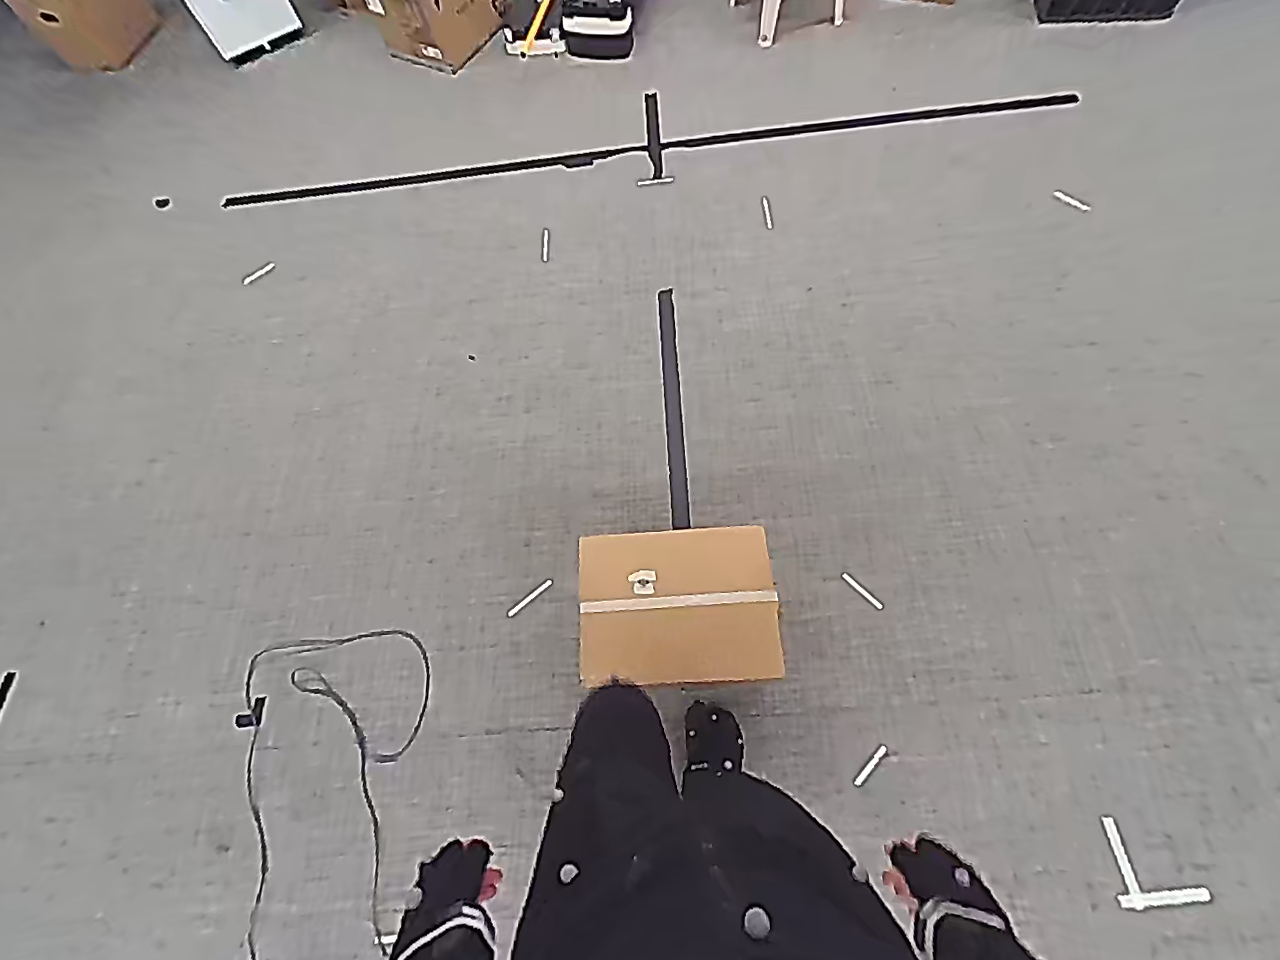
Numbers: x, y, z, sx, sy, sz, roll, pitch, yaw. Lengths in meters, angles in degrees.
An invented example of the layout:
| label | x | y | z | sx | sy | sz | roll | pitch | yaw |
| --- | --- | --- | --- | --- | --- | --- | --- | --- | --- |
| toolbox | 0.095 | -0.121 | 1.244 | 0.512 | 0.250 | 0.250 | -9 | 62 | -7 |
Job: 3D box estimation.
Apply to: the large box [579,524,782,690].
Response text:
| label | x | y | z | sx | sy | sz | roll | pitch | yaw |
| --- | --- | --- | --- | --- | --- | --- | --- | --- | --- |
| large box | 0.087 | 0.311 | 1.256 | 0.408 | 0.320 | 0.320 | -5 | 66 | 4 |
